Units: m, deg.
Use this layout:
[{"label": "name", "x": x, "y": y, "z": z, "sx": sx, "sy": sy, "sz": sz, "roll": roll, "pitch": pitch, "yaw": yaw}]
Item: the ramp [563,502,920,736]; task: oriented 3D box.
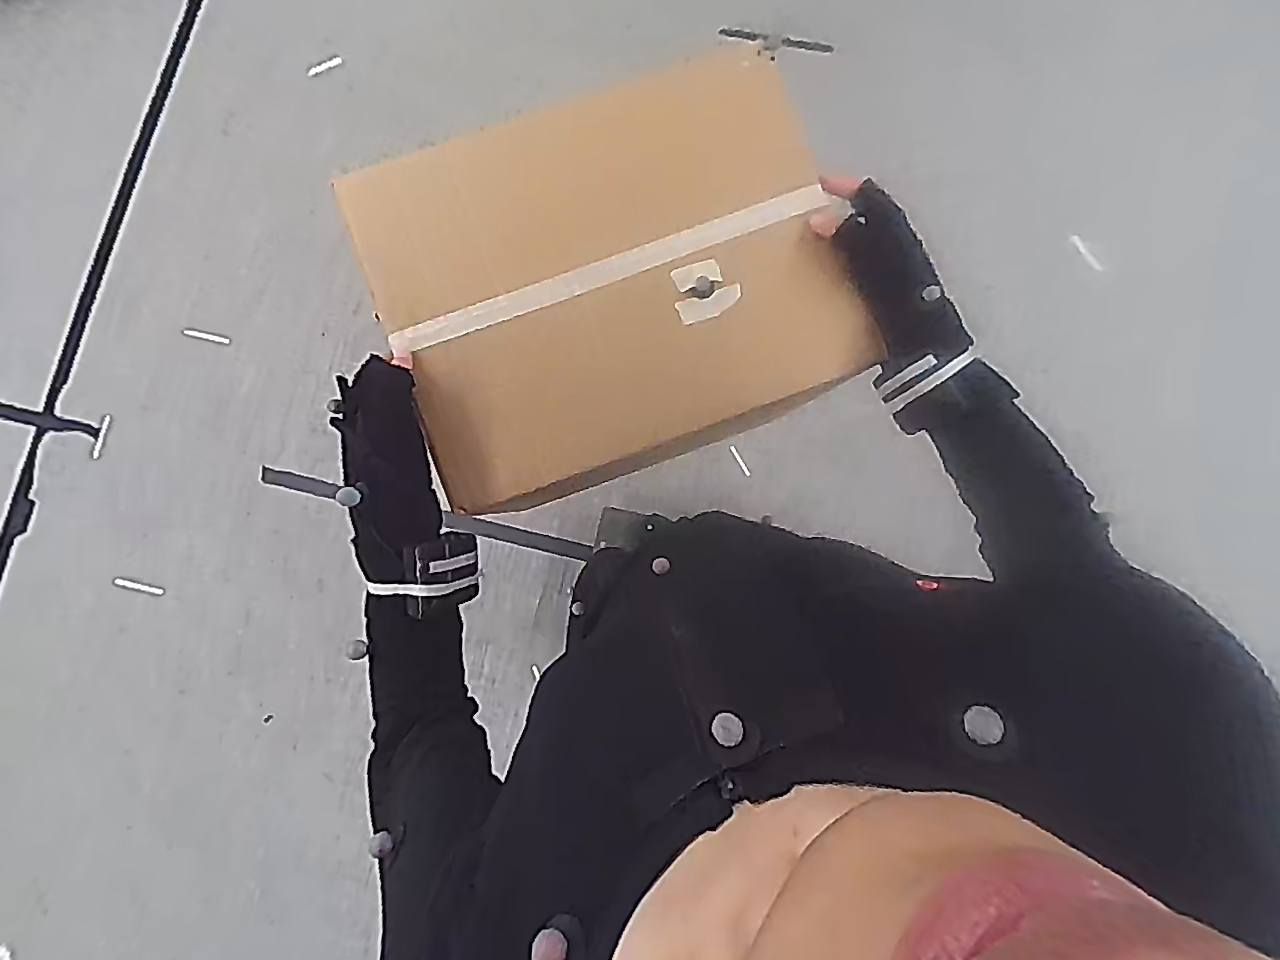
[{"label": "ramp", "x": 0.320, "y": 0.401, "z": 1.535, "sx": 0.991, "sy": 0.206, "sz": 0.509, "roll": 10, "pitch": 82, "yaw": 2}]

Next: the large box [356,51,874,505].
[{"label": "large box", "x": -0.027, "y": -0.184, "z": 0.638, "sx": 0.408, "sy": 0.320, "sz": 0.320, "roll": -20, "pitch": 88, "yaw": -4}]
